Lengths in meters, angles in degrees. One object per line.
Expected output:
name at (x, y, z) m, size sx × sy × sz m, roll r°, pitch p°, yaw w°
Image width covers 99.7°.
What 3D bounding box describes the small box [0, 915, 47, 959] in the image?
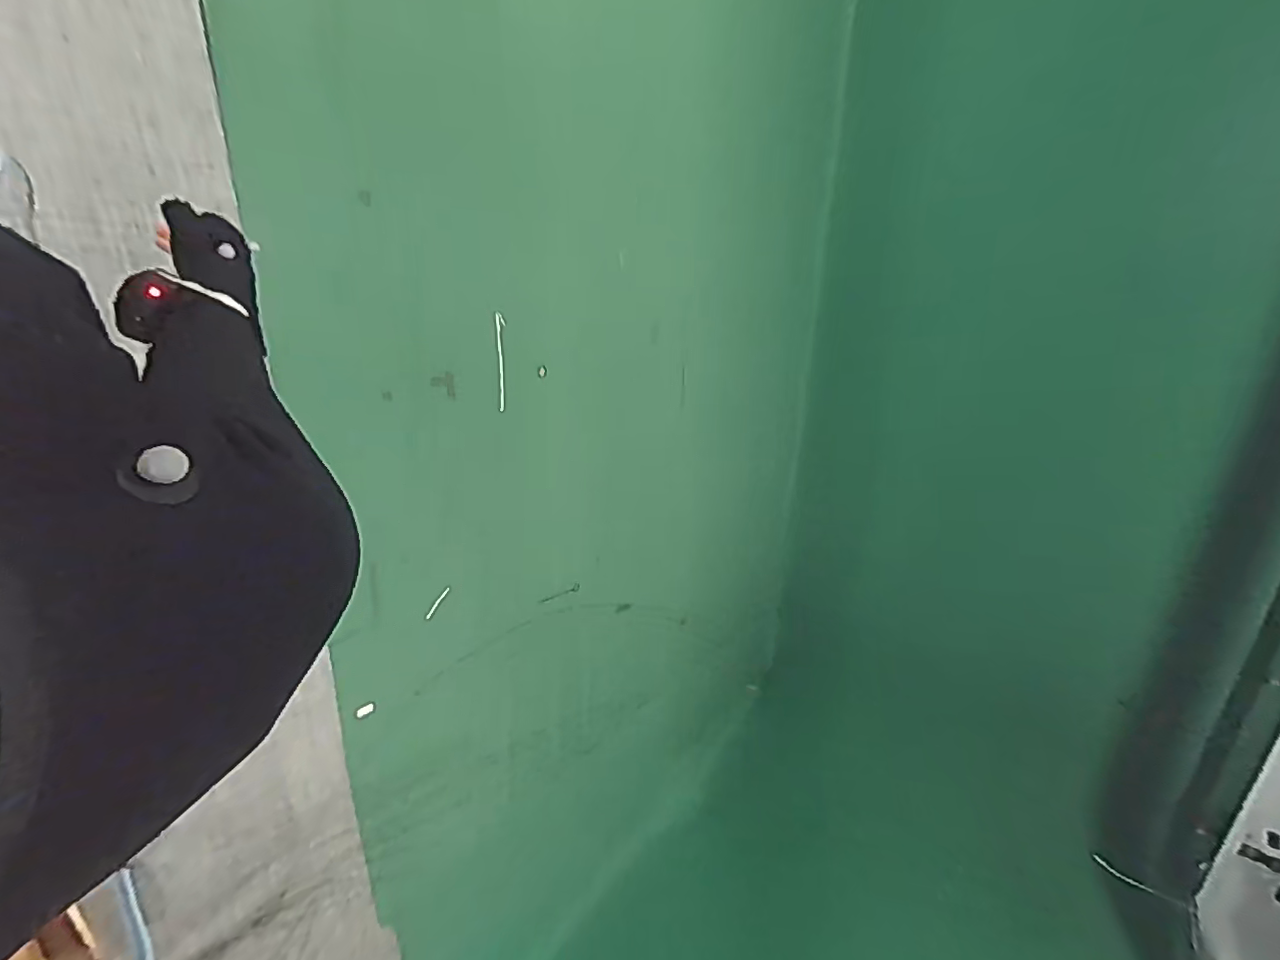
small box at (-1.278, 1.006, 1.041) m, size 0.168 × 0.176 × 0.179 m, roll -21°, pitch 120°, yaw -47°
